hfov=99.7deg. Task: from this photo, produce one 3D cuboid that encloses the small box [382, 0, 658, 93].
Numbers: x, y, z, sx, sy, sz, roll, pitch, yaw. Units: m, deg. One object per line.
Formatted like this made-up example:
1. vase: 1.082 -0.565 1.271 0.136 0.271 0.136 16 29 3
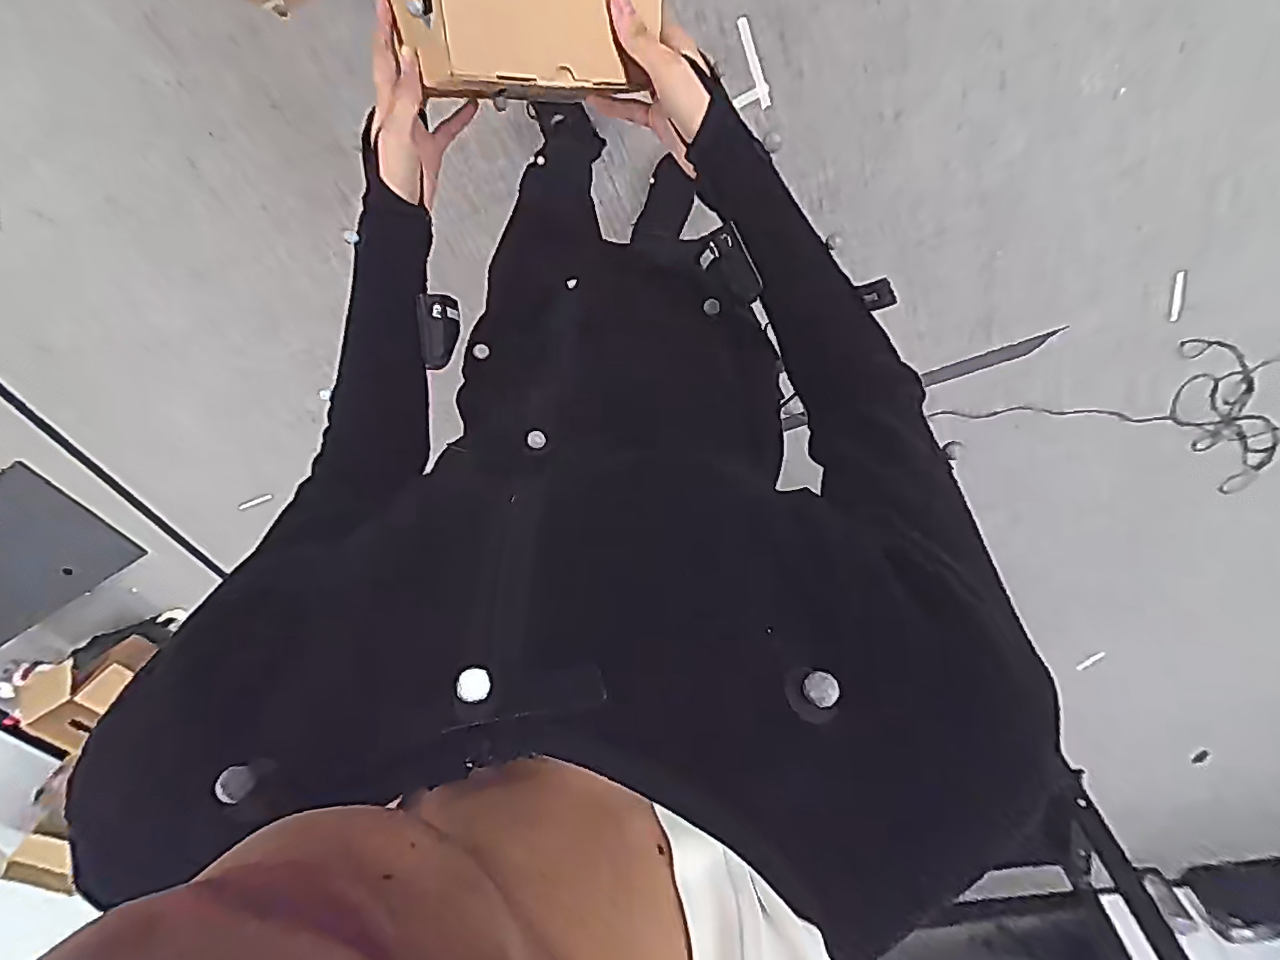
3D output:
1. small box: -0.099 -0.401 0.399 0.168 0.176 0.179 -18 128 -26
